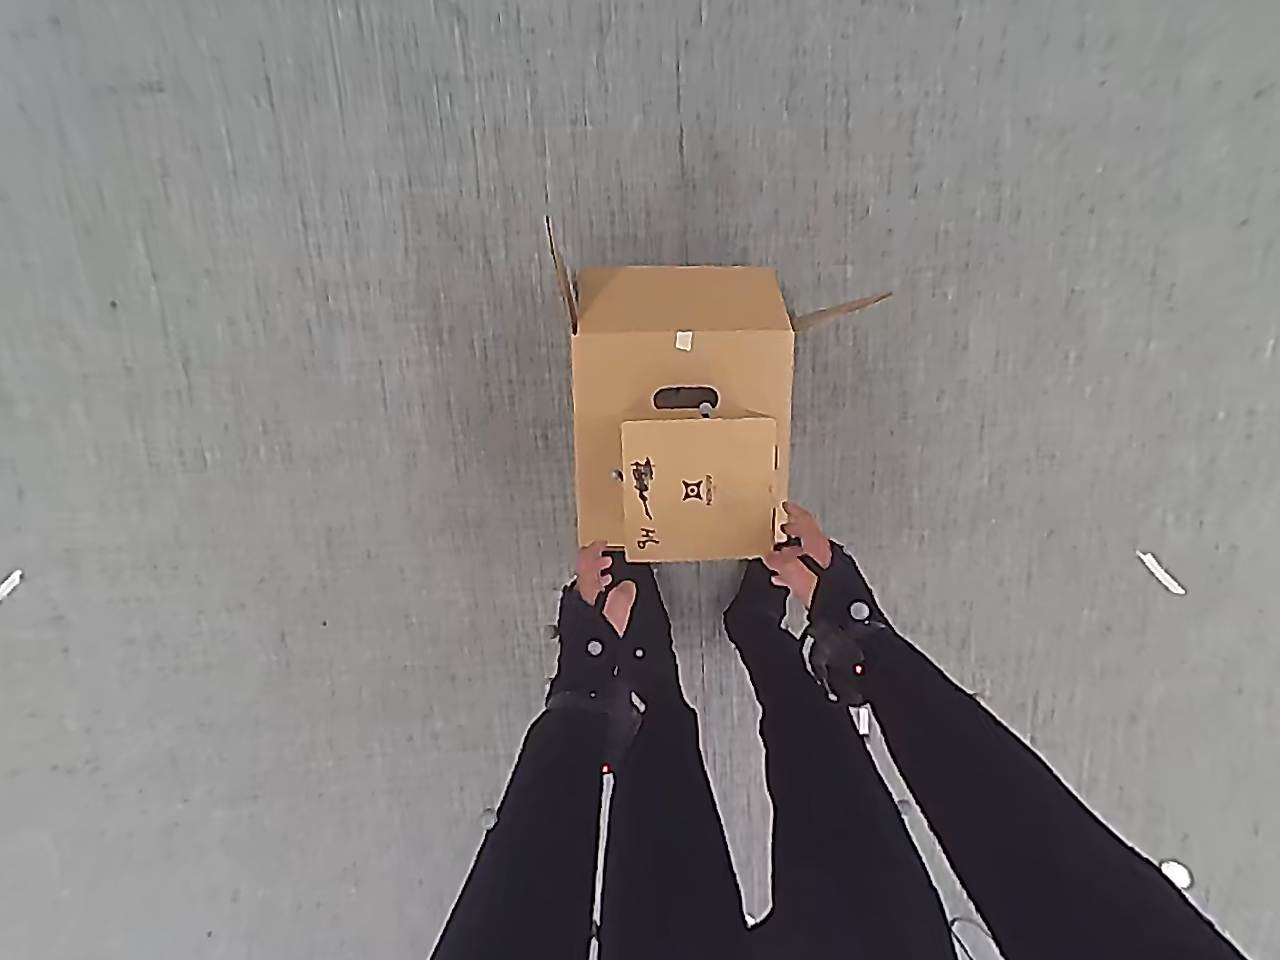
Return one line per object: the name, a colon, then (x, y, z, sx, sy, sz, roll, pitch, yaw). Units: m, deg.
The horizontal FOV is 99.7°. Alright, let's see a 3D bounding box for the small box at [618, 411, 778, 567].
small box: (0.062, 0.001, 0.684, 0.179, 0.176, 0.168, -2, 101, -2)
